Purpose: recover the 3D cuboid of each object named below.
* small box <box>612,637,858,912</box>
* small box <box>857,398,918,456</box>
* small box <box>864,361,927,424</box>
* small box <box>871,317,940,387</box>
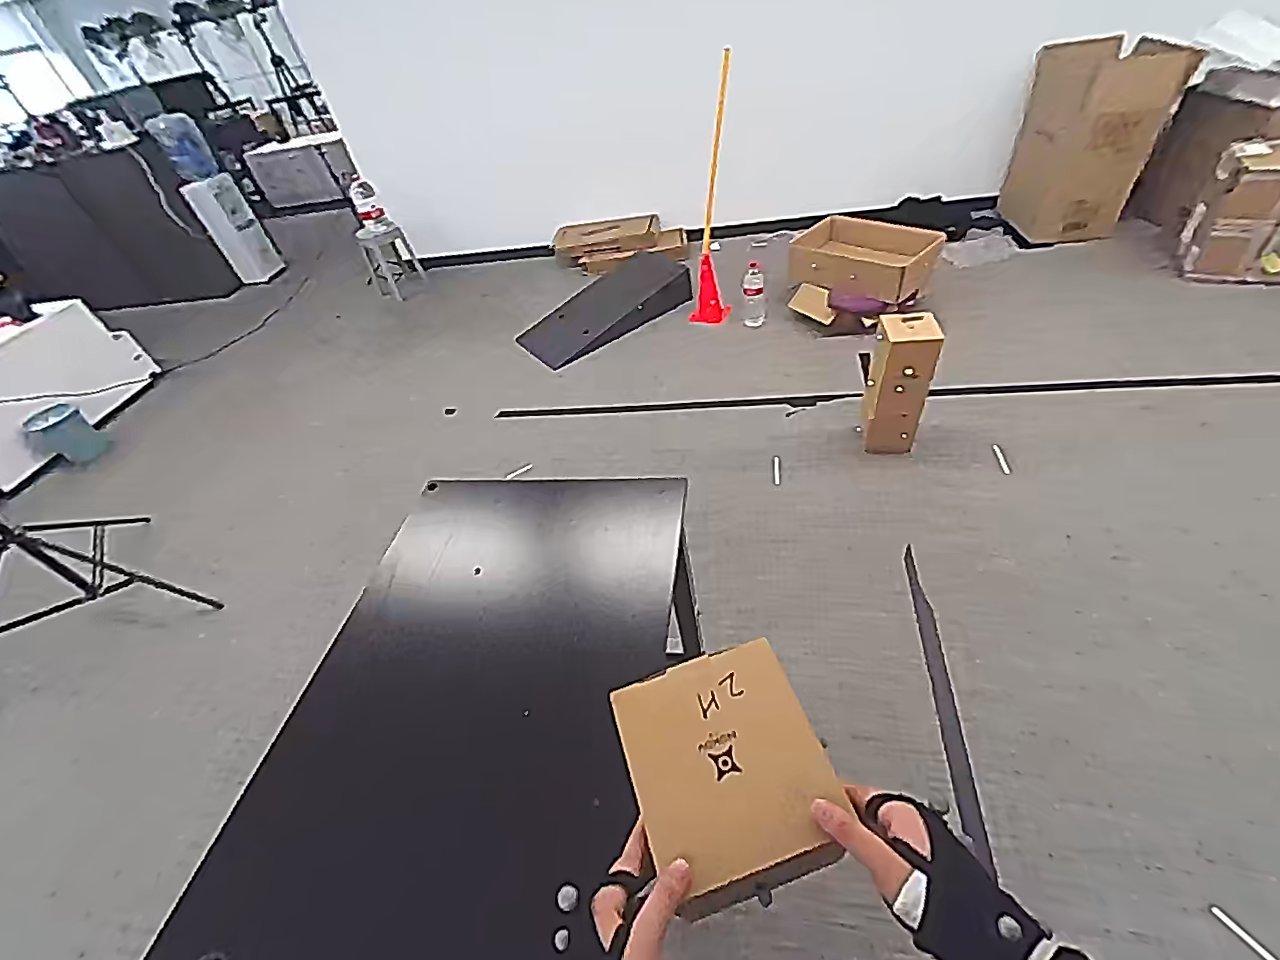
[{"bbox_3d":[0.087,0.292,0.529,0.168,0.176,0.179,-19,46,-4],"label":"small box"},{"bbox_3d":[0.953,-0.207,2.095,0.179,0.176,0.168,-2,43,13],"label":"small box"},{"bbox_3d":[0.928,-0.323,1.982,0.168,0.176,0.179,-2,43,11],"label":"small box"},{"bbox_3d":[0.907,-0.441,1.868,0.168,0.176,0.179,-2,45,11],"label":"small box"}]
